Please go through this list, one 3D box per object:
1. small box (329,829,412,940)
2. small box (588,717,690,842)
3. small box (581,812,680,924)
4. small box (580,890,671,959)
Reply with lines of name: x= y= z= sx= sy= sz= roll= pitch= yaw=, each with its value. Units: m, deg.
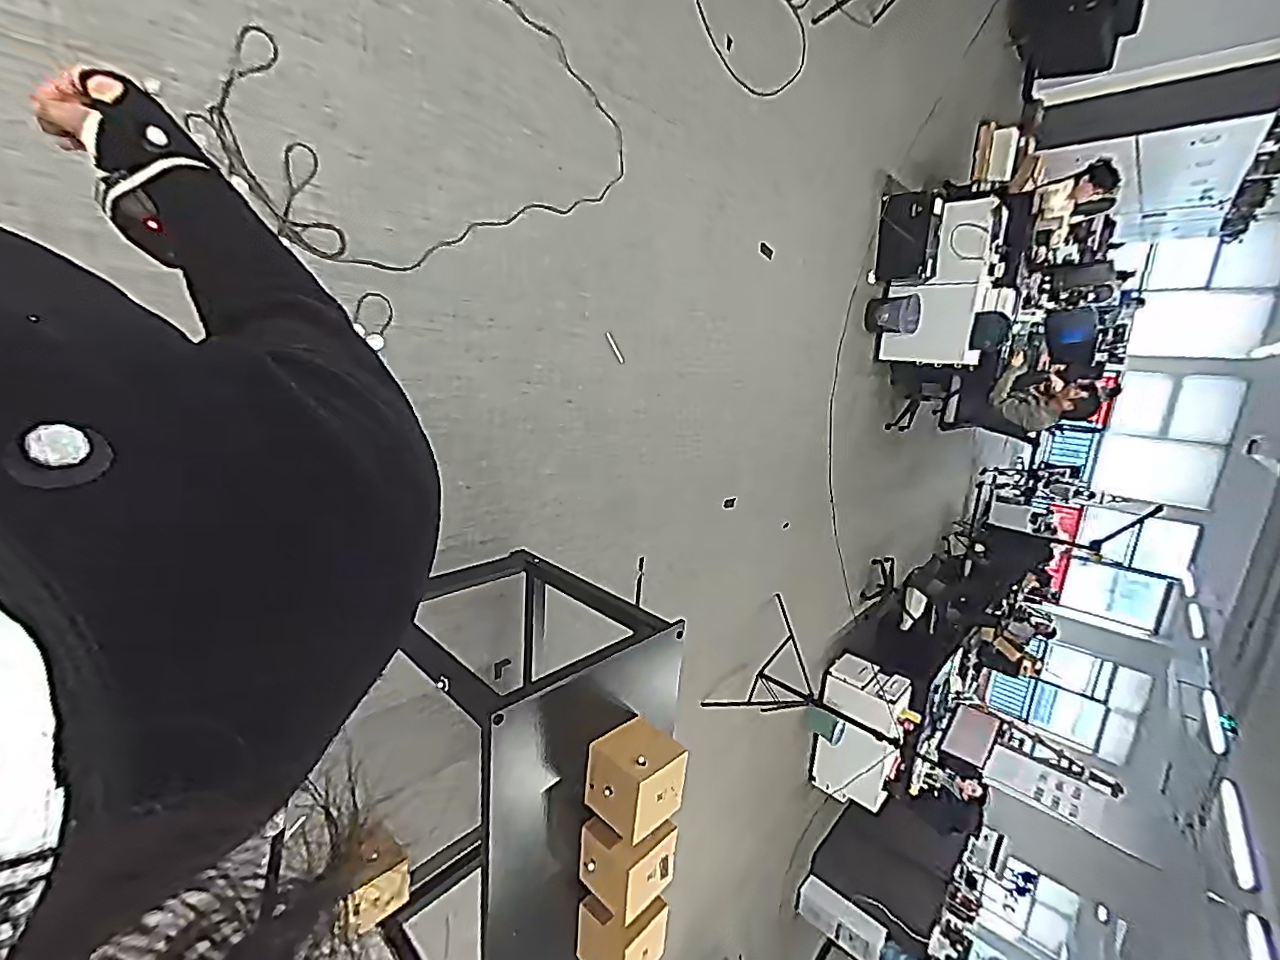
small box: x=-0.826 y=1.227 z=1.658 sx=0.179 sy=0.176 sz=0.168 roll=-12 pitch=109 yaw=-46
small box: x=-0.006 y=0.709 z=1.301 sx=0.179 sy=0.176 sz=0.168 roll=-6 pitch=107 yaw=-47
small box: x=-0.024 y=0.927 z=1.349 sx=0.179 sy=0.176 sz=0.168 roll=-11 pitch=109 yaw=-46
small box: x=-0.041 y=1.168 z=1.406 sx=0.168 sy=0.176 sz=0.179 roll=-11 pitch=108 yaw=-47
